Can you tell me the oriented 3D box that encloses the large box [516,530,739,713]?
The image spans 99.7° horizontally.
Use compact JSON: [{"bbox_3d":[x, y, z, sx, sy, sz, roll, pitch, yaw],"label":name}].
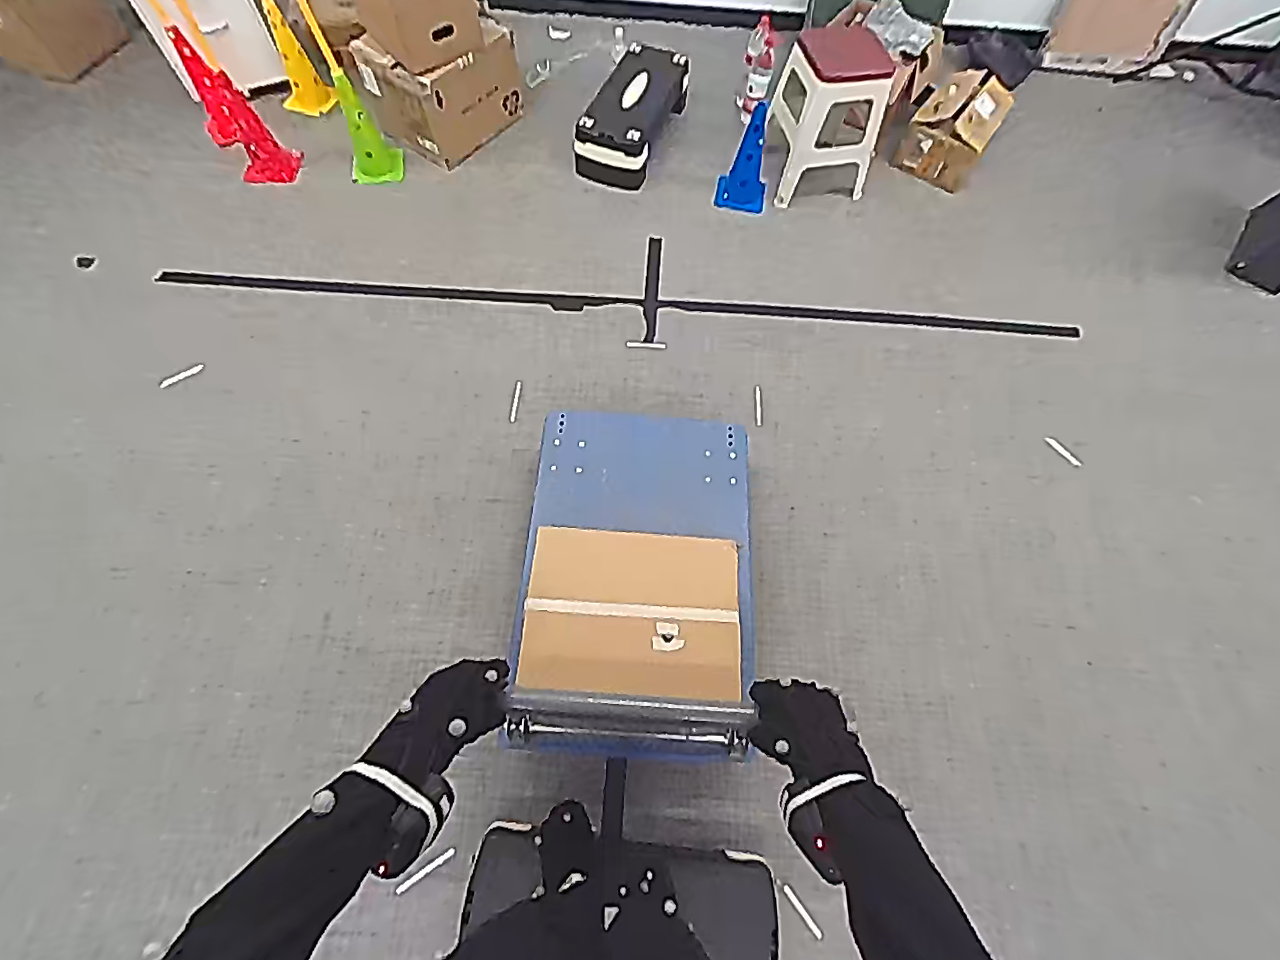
[{"bbox_3d":[-0.026,0.314,1.150,0.408,0.320,0.320,5,65,-2],"label":"large box"}]
